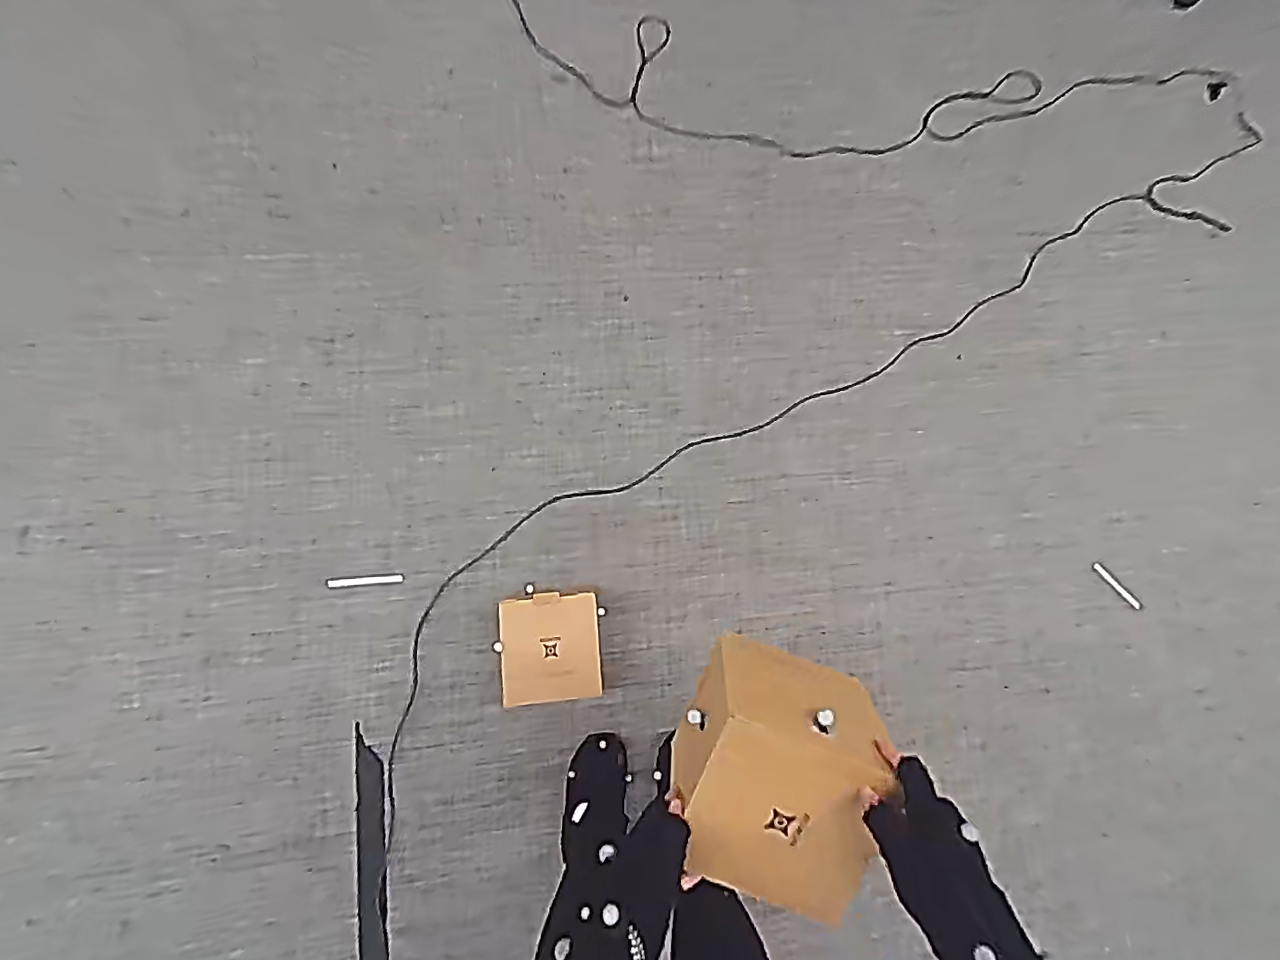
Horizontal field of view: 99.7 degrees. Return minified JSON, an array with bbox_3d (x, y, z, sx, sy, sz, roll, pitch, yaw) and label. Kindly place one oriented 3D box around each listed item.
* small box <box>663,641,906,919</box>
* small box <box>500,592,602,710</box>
[{"bbox_3d":[0.135,0.296,0.573,0.179,0.176,0.168,20,101,0],"label":"small box"},{"bbox_3d":[-0.159,0.300,0.986,0.168,0.176,0.179,-4,84,-6],"label":"small box"}]
